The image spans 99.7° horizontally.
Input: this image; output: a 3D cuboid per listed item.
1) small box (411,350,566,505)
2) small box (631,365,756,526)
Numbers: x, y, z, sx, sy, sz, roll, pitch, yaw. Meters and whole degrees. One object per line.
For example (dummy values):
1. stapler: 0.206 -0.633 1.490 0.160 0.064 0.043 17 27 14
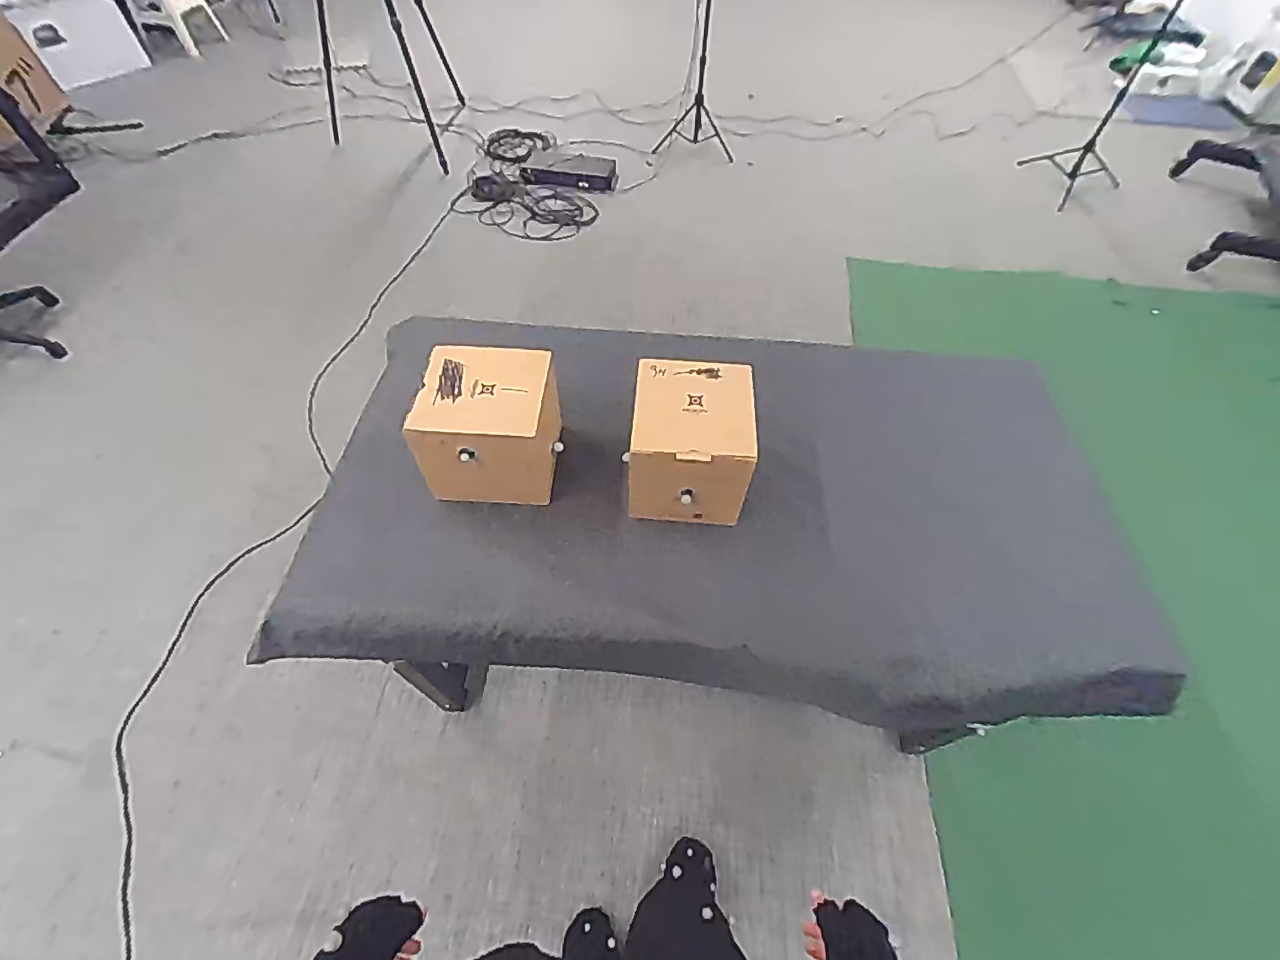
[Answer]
1. small box: -0.215 -0.075 0.821 0.179 0.176 0.168 4 55 0
2. small box: 0.077 -0.047 0.811 0.168 0.176 0.179 5 55 2
